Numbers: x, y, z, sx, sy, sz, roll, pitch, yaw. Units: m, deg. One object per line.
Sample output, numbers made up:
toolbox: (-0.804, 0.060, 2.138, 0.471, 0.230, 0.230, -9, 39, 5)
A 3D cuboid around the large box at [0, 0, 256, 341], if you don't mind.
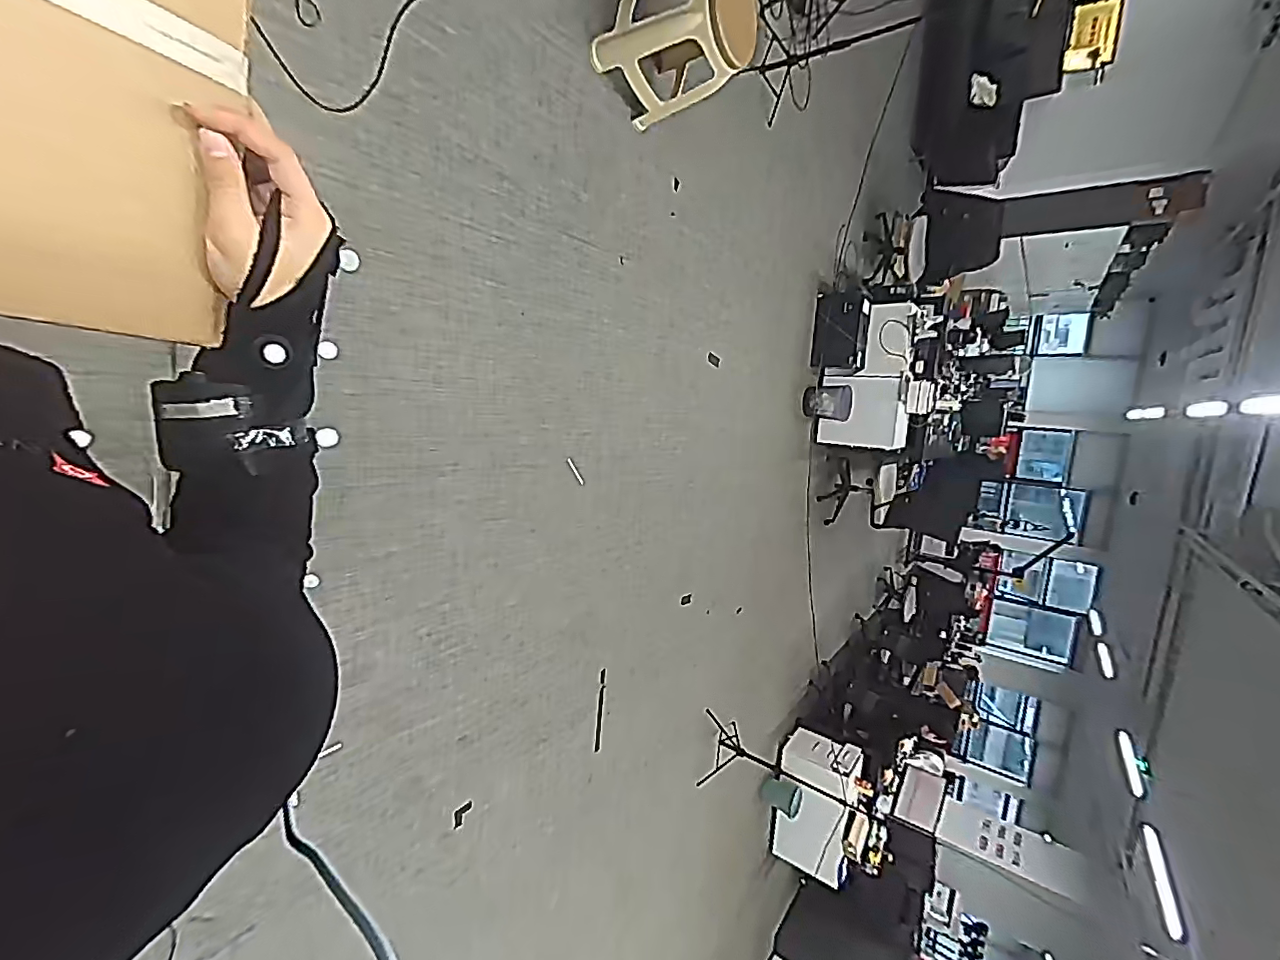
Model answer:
large box: (-0.469, -0.268, 0.246, 0.408, 0.320, 0.320, -2, 109, -55)
